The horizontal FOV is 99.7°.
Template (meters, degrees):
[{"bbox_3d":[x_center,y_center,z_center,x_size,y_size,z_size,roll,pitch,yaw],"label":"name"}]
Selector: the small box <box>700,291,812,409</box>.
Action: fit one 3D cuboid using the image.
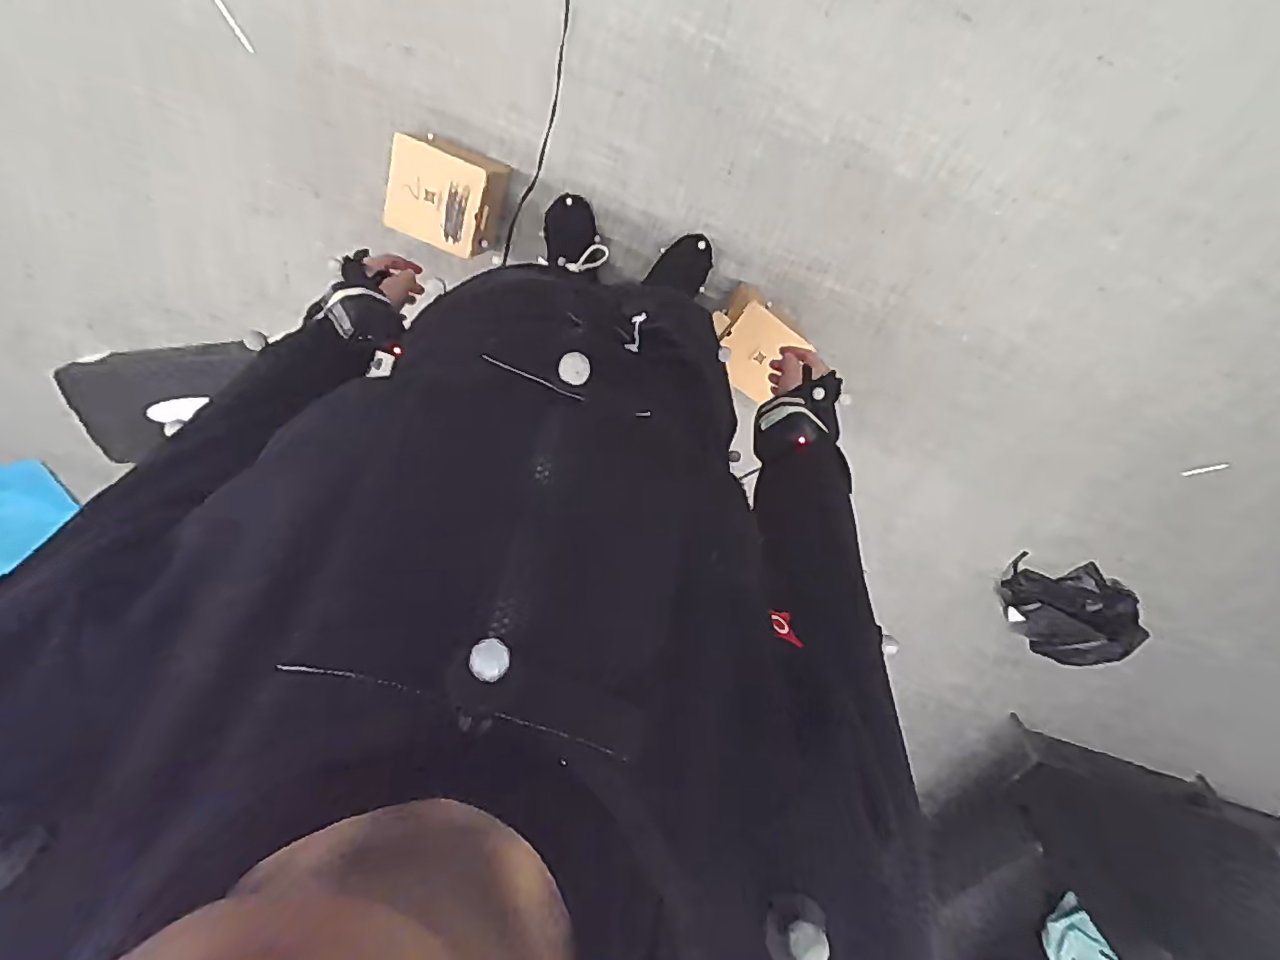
[{"bbox_3d":[0.251,-0.297,1.208,0.179,0.176,0.168,32,118,-14],"label":"small box"}]
